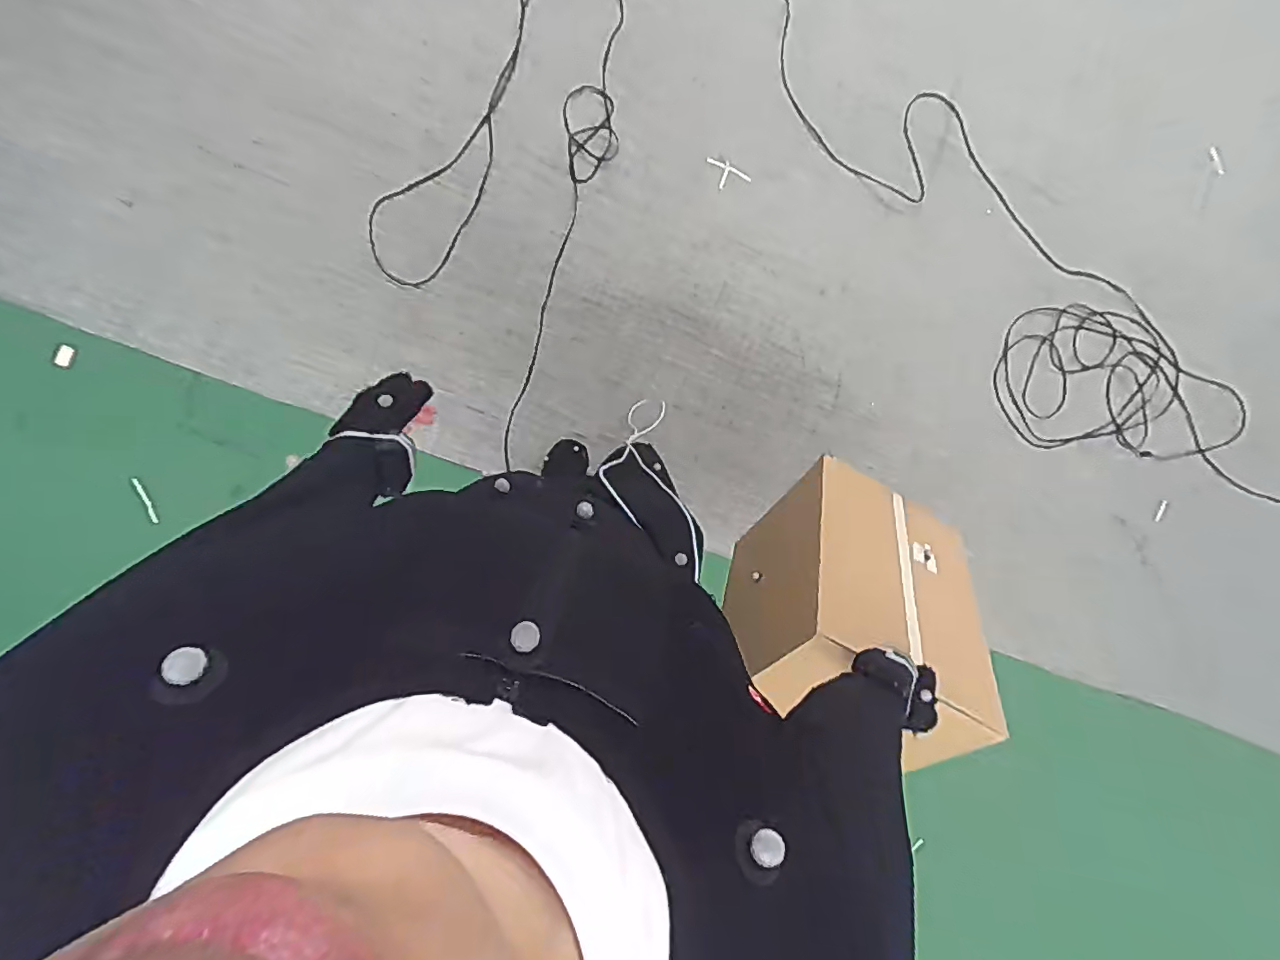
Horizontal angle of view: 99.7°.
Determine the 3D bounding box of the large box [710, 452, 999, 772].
[{"bbox_3d":[0.356,0.234,0.979,0.320,0.408,0.320,30,132,-6],"label":"large box"}]
